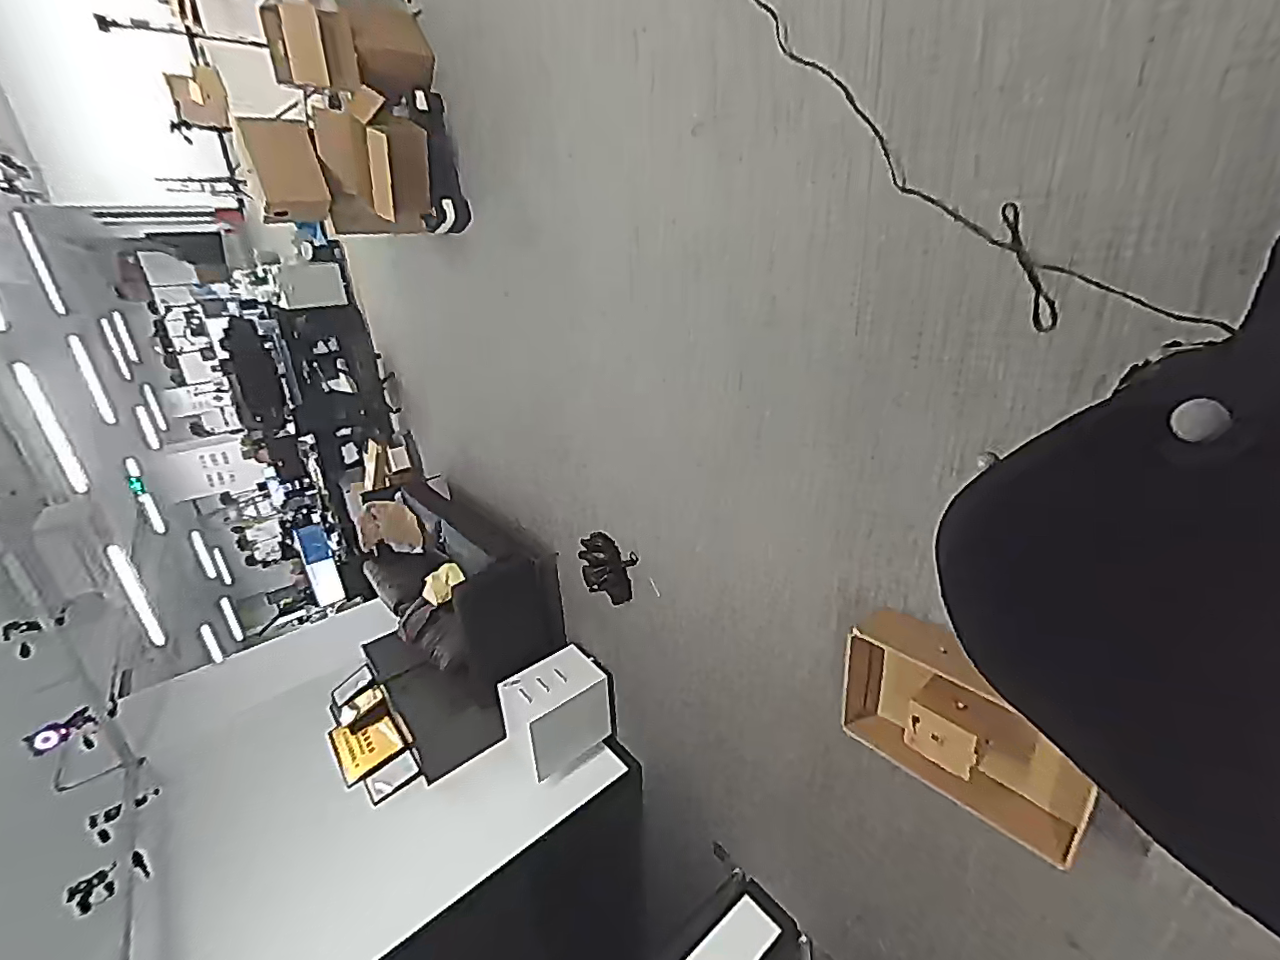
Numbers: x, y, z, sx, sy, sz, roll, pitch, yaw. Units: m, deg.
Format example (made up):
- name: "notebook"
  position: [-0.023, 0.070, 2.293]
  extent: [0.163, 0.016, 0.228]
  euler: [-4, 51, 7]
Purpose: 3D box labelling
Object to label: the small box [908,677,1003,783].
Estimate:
- name: "small box"
  position: [0.874, 0.682, 1.499]
  extent: [0.179, 0.176, 0.168]
  euler: [19, 123, 48]
